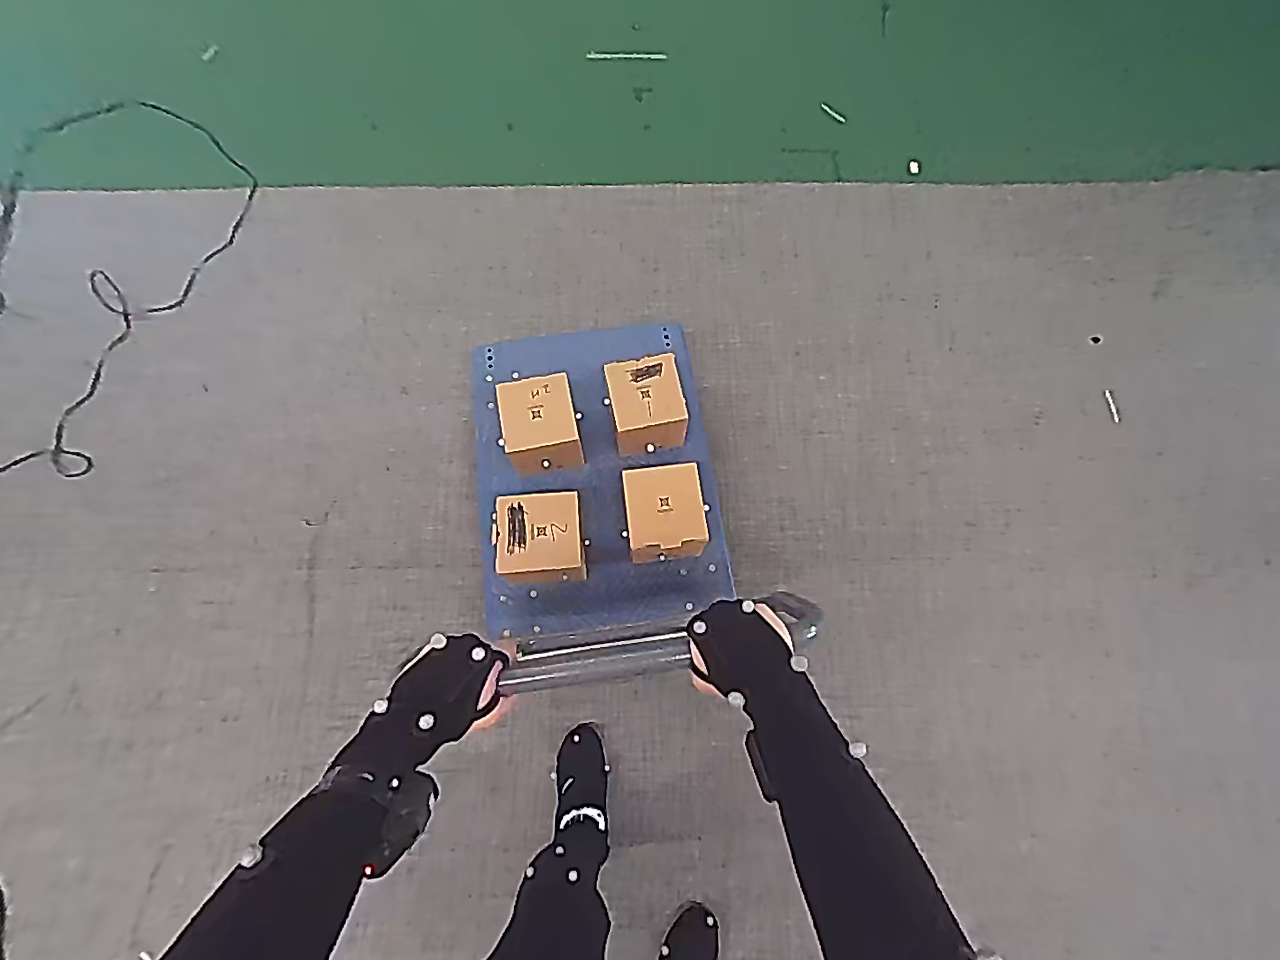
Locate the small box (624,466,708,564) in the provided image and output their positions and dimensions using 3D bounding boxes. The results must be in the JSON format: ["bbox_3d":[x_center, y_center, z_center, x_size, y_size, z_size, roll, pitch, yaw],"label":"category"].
[{"bbox_3d":[0.052,0.085,1.247,0.168,0.176,0.179,-7,72,-3],"label":"small box"}]

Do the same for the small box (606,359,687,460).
[{"bbox_3d":[0.012,-0.169,1.332,0.168,0.176,0.179,-11,72,-3],"label":"small box"}]

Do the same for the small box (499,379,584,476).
[{"bbox_3d":[-0.234,-0.118,1.313,0.168,0.176,0.179,-11,71,-5],"label":"small box"}]
